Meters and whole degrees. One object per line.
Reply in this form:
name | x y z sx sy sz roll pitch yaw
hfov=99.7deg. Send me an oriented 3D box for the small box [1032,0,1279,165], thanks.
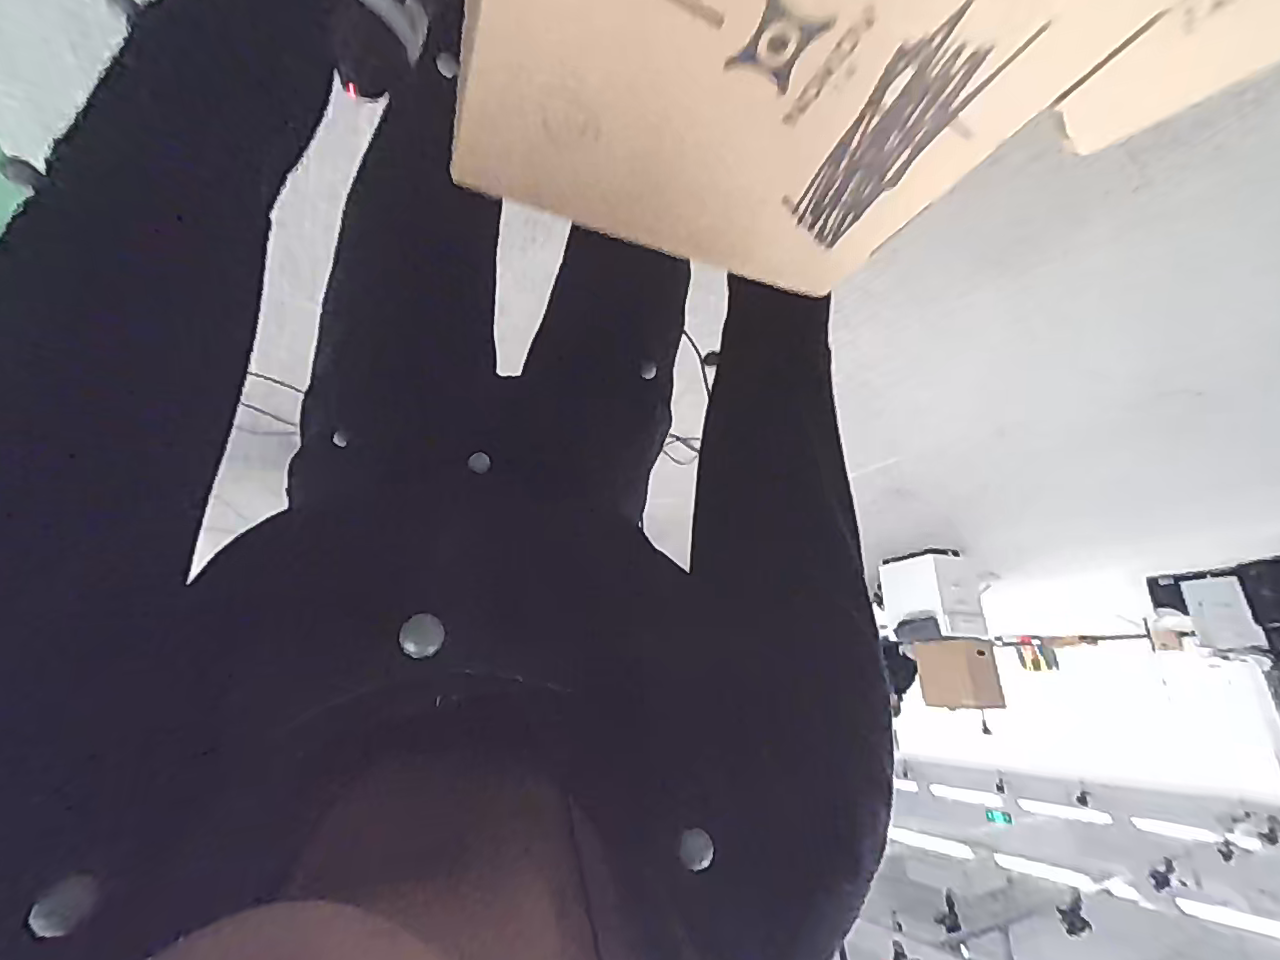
small box | 0.349 -0.375 0.367 0.179 0.176 0.168 -17 155 39
